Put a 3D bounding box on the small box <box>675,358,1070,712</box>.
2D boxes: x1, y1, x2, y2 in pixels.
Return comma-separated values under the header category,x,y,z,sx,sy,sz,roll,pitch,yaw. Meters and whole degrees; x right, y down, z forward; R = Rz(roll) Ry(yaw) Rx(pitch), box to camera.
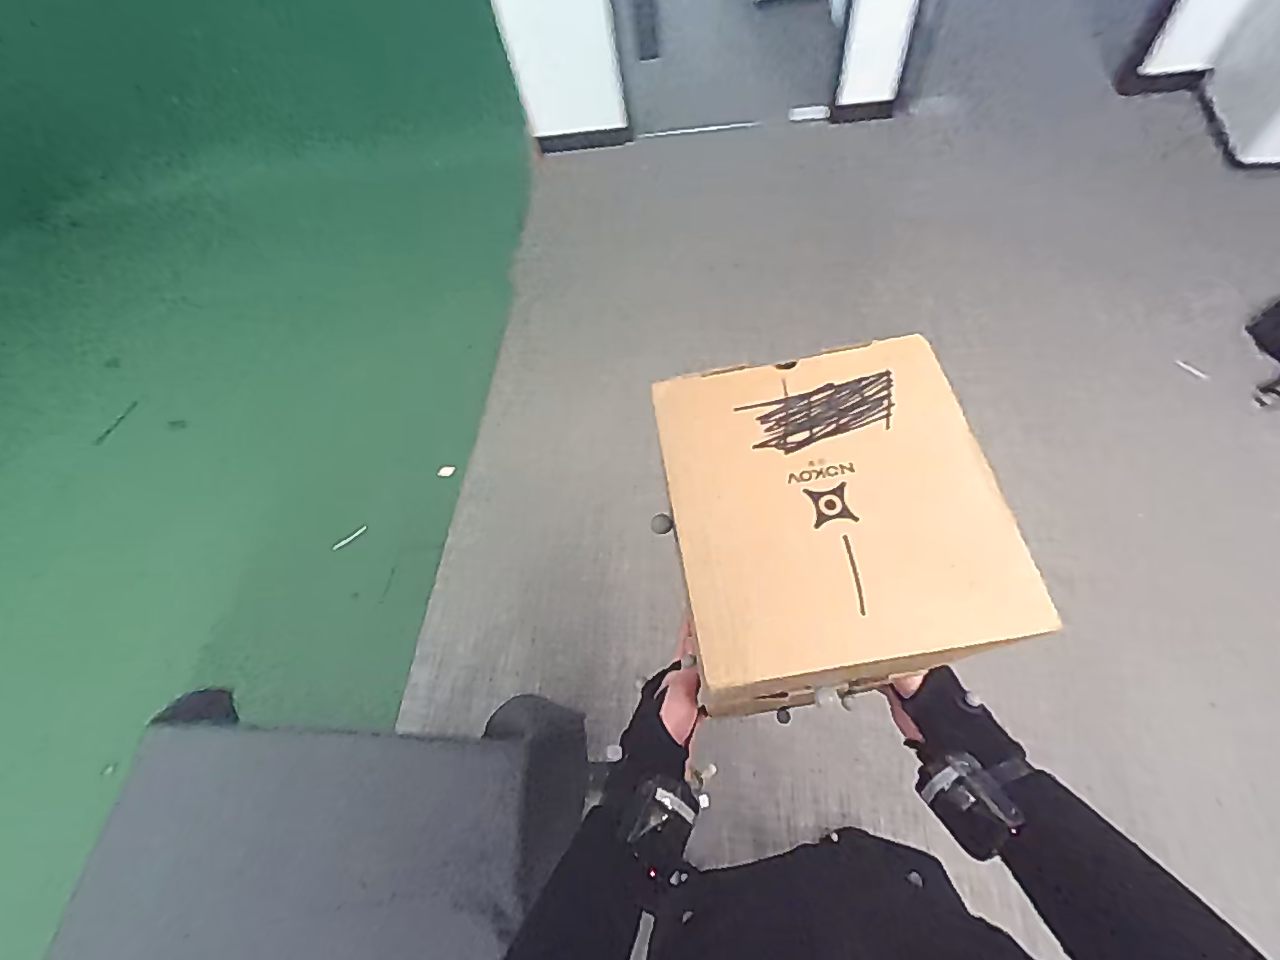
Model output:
category,x,y,z,sx,sy,sz,roll,pitch,yaw
small box,0.118,0.049,0.363,0.168,0.176,0.179,-10,65,2
